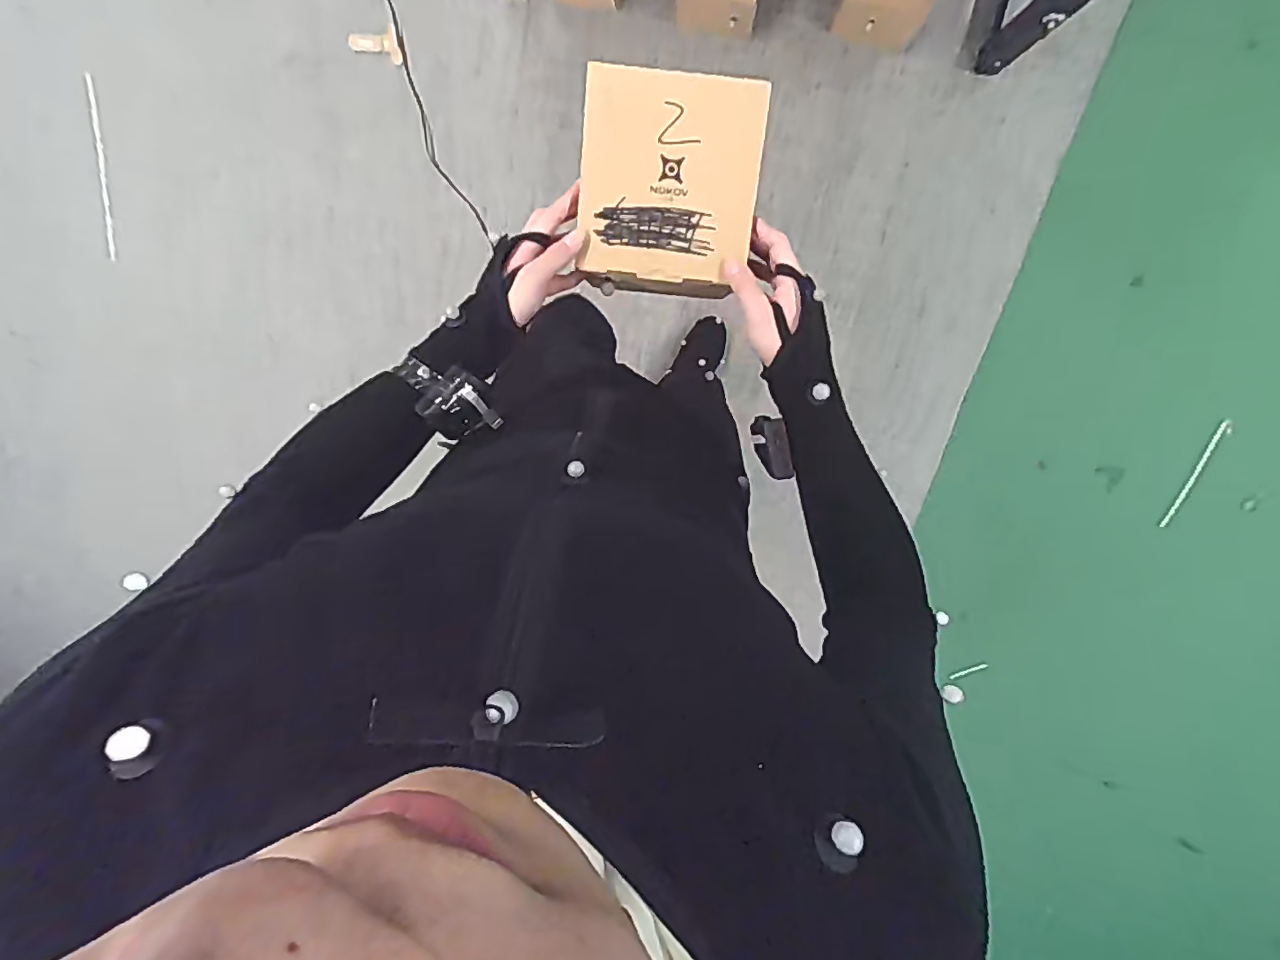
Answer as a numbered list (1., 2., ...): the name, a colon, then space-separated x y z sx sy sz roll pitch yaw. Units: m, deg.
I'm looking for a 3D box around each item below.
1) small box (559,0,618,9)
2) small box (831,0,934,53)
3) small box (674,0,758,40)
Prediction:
1. small box: -0.135 -1.183 1.187 0.179 0.176 0.168 12 109 3
2. small box: 0.527 -1.050 1.148 0.179 0.176 0.168 15 109 2
3. small box: 0.179 -1.100 1.175 0.179 0.176 0.168 13 109 3
